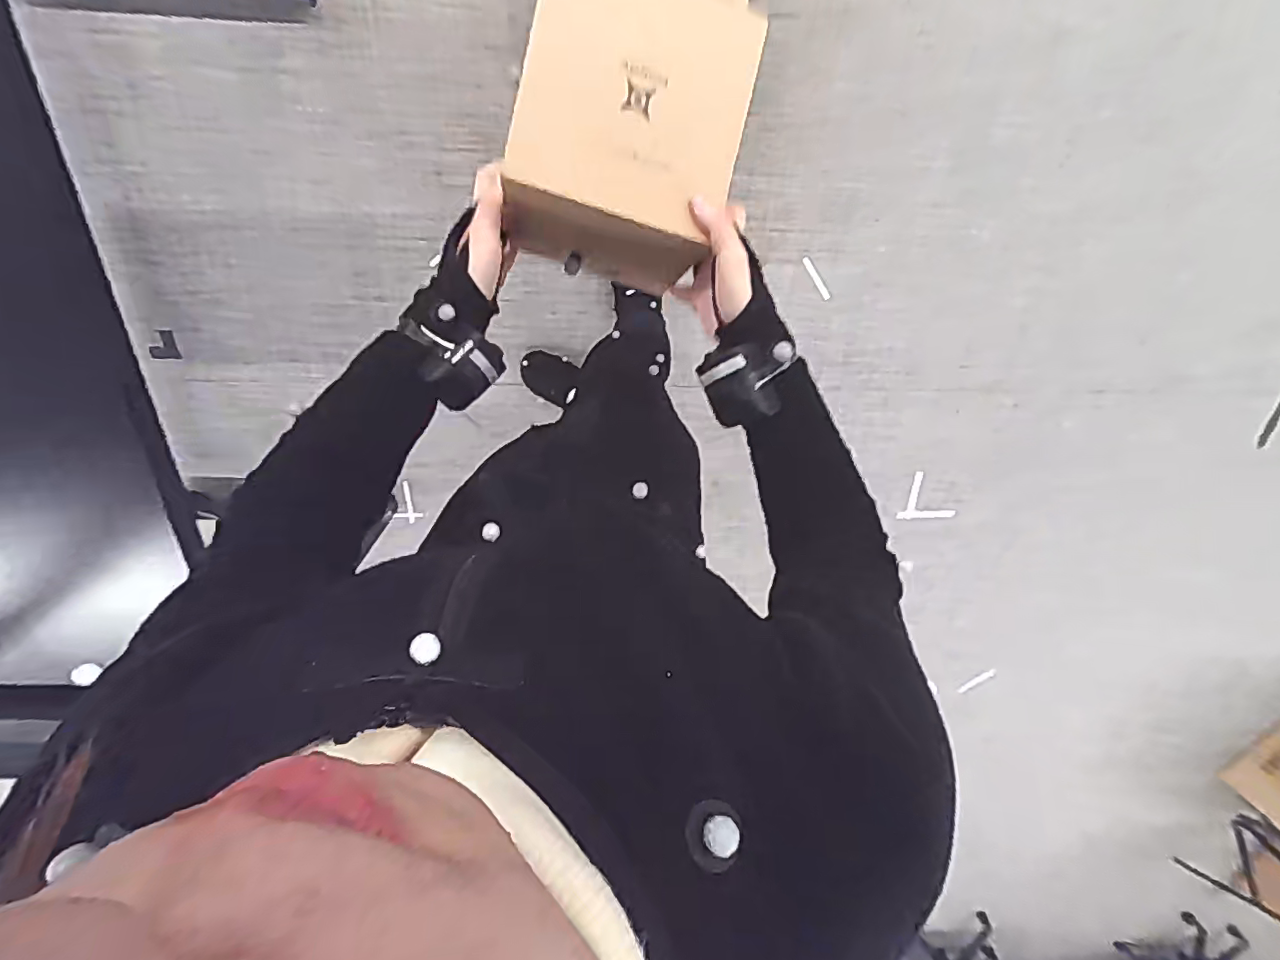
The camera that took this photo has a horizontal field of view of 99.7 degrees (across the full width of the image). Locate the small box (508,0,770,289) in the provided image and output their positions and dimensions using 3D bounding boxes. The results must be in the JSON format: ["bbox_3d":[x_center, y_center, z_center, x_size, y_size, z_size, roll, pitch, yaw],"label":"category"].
[{"bbox_3d":[-0.013,-0.294,0.472,0.168,0.176,0.179,13,92,-12],"label":"small box"}]
